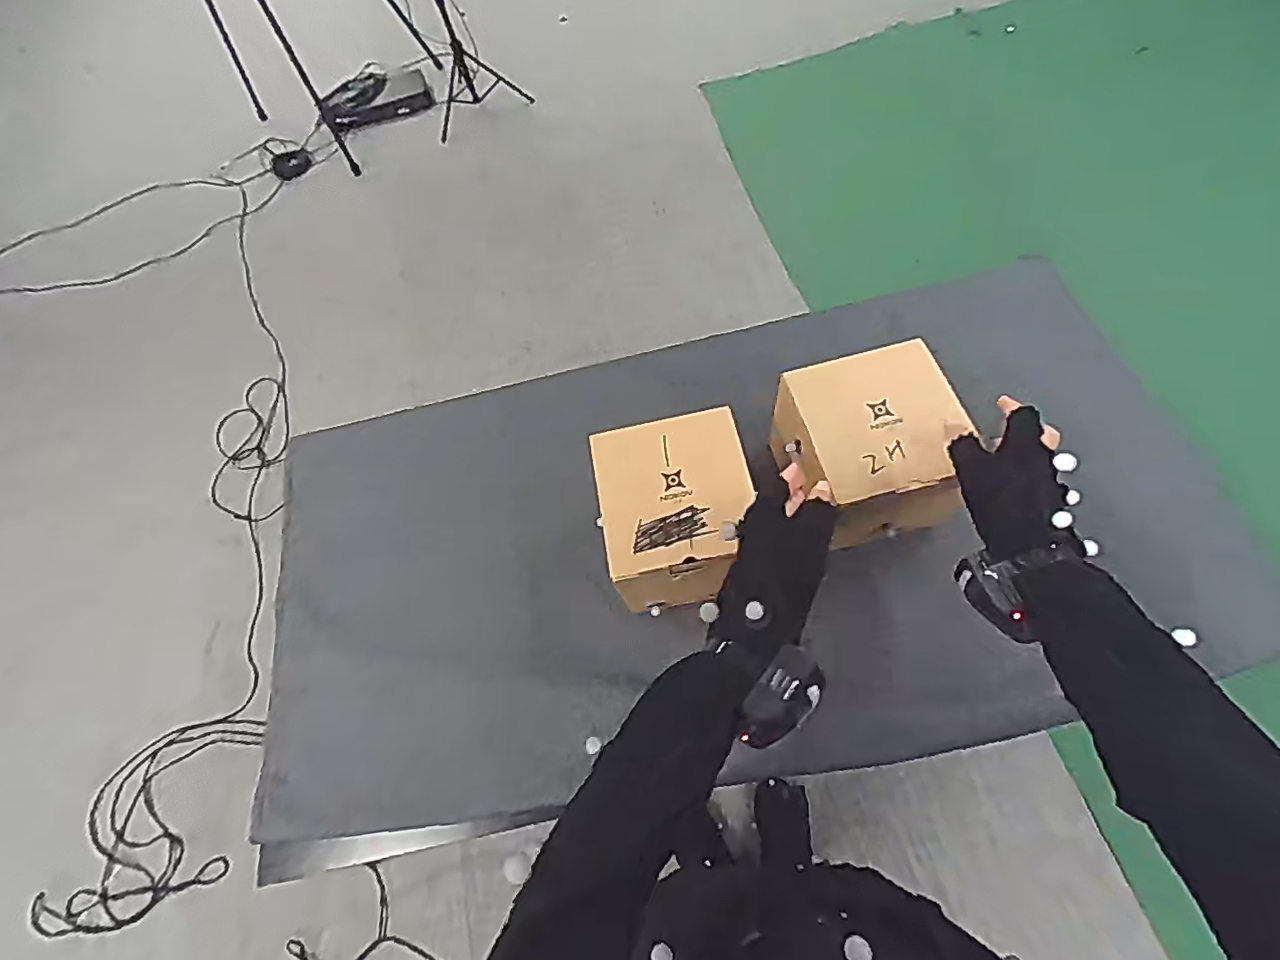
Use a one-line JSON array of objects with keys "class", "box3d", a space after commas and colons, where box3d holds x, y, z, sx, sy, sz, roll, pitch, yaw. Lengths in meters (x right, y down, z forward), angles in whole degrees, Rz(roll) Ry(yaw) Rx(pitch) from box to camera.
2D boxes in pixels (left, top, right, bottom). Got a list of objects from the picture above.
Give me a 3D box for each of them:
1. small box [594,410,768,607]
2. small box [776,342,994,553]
[{"class": "small box", "box3d": [0.050, 0.045, 0.653, 0.168, 0.176, 0.179, -12, 63, 2]}, {"class": "small box", "box3d": [0.273, -0.032, 0.656, 0.168, 0.176, 0.179, -15, 64, 2]}]
